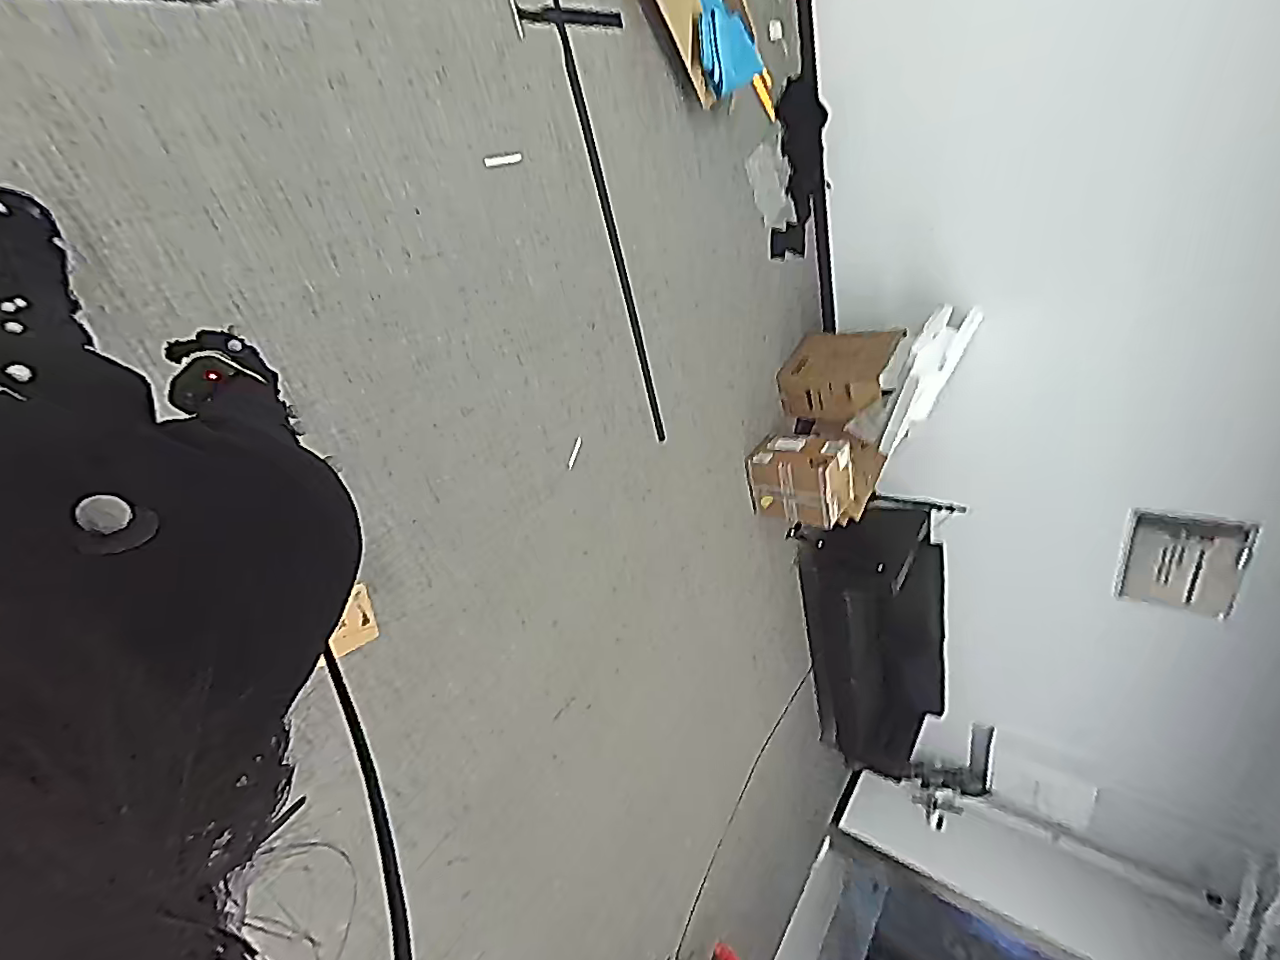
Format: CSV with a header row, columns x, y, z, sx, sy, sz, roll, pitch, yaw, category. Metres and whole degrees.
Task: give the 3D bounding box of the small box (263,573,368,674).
x,y,z,sx,sy,sz,roll,pitch,yaw,category
-0.838,0.360,1.389,0.179,0.176,0.168,-25,116,-46,small box
